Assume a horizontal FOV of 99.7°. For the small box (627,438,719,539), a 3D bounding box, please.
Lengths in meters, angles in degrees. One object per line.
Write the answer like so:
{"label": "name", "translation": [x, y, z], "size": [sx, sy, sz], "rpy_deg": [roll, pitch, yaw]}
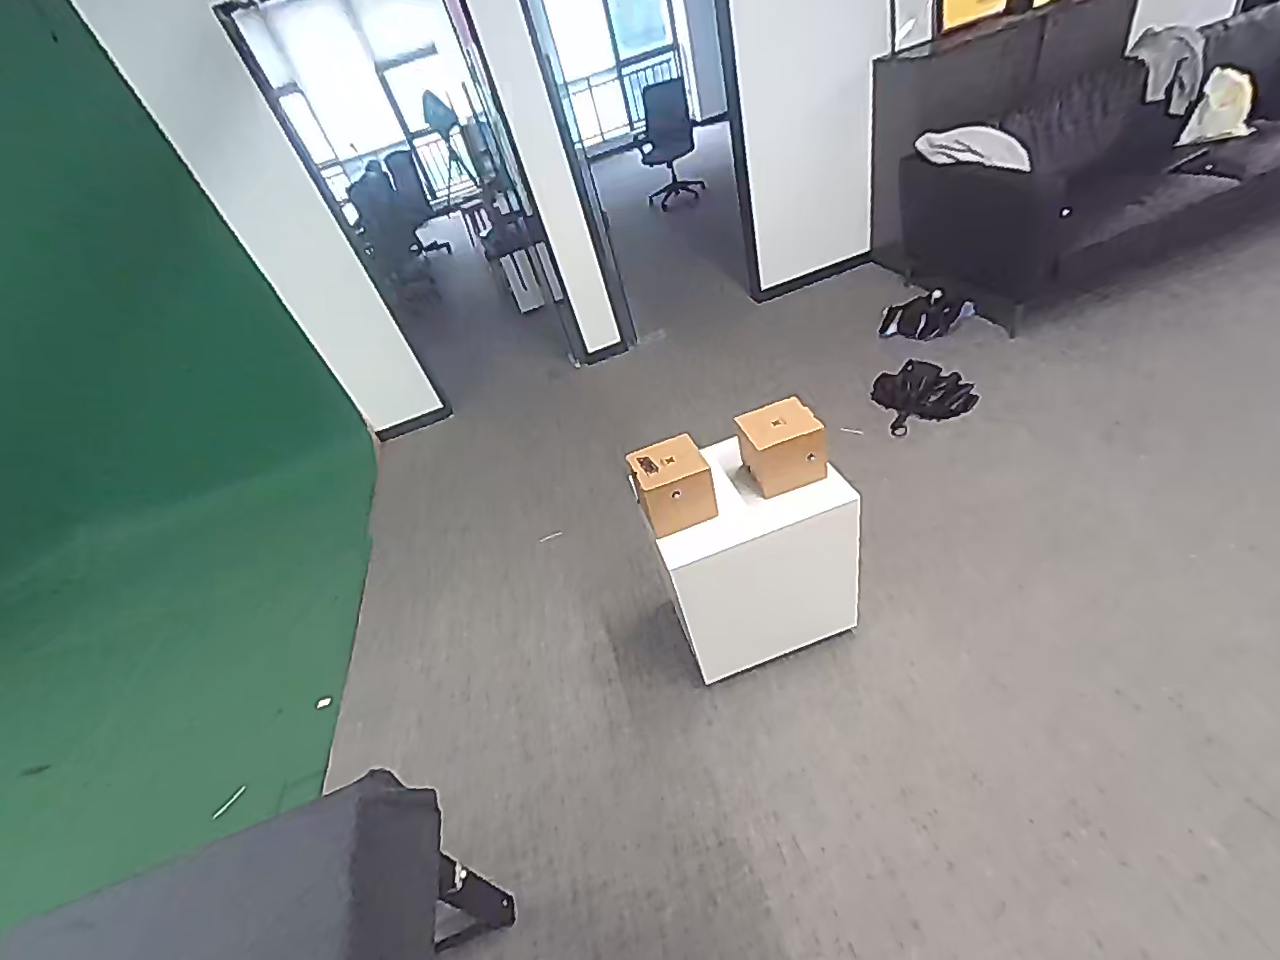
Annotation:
{"label": "small box", "translation": [0.087, 0.024, 1.390], "size": [0.179, 0.176, 0.168], "rpy_deg": [-20, 39, -5]}

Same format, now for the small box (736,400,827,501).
{"label": "small box", "translation": [0.368, -0.075, 1.400], "size": [0.179, 0.176, 0.168], "rpy_deg": [-21, 38, -1]}
